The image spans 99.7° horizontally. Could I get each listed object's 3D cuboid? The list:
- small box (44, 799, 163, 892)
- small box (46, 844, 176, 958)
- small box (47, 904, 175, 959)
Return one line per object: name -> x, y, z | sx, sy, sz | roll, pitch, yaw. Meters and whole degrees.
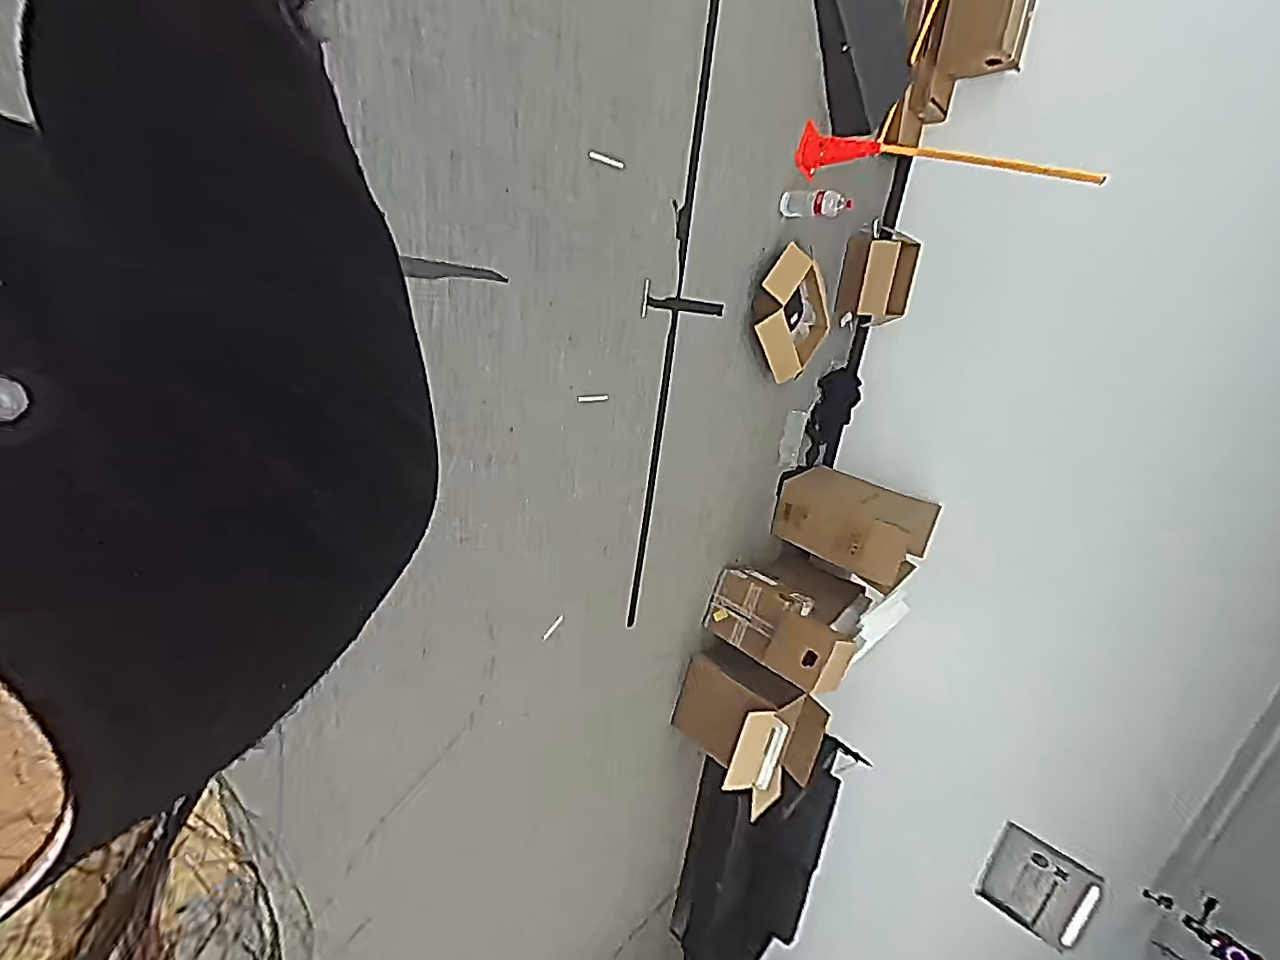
small box -> -1.273, 0.902, 1.284 | 0.168, 0.176, 0.179 | -18, 121, -44
small box -> -1.155, 0.957, 1.184 | 0.168, 0.176, 0.179 | -20, 123, -43
small box -> -1.043, 1.010, 1.075 | 0.168, 0.176, 0.179 | -19, 122, -43
